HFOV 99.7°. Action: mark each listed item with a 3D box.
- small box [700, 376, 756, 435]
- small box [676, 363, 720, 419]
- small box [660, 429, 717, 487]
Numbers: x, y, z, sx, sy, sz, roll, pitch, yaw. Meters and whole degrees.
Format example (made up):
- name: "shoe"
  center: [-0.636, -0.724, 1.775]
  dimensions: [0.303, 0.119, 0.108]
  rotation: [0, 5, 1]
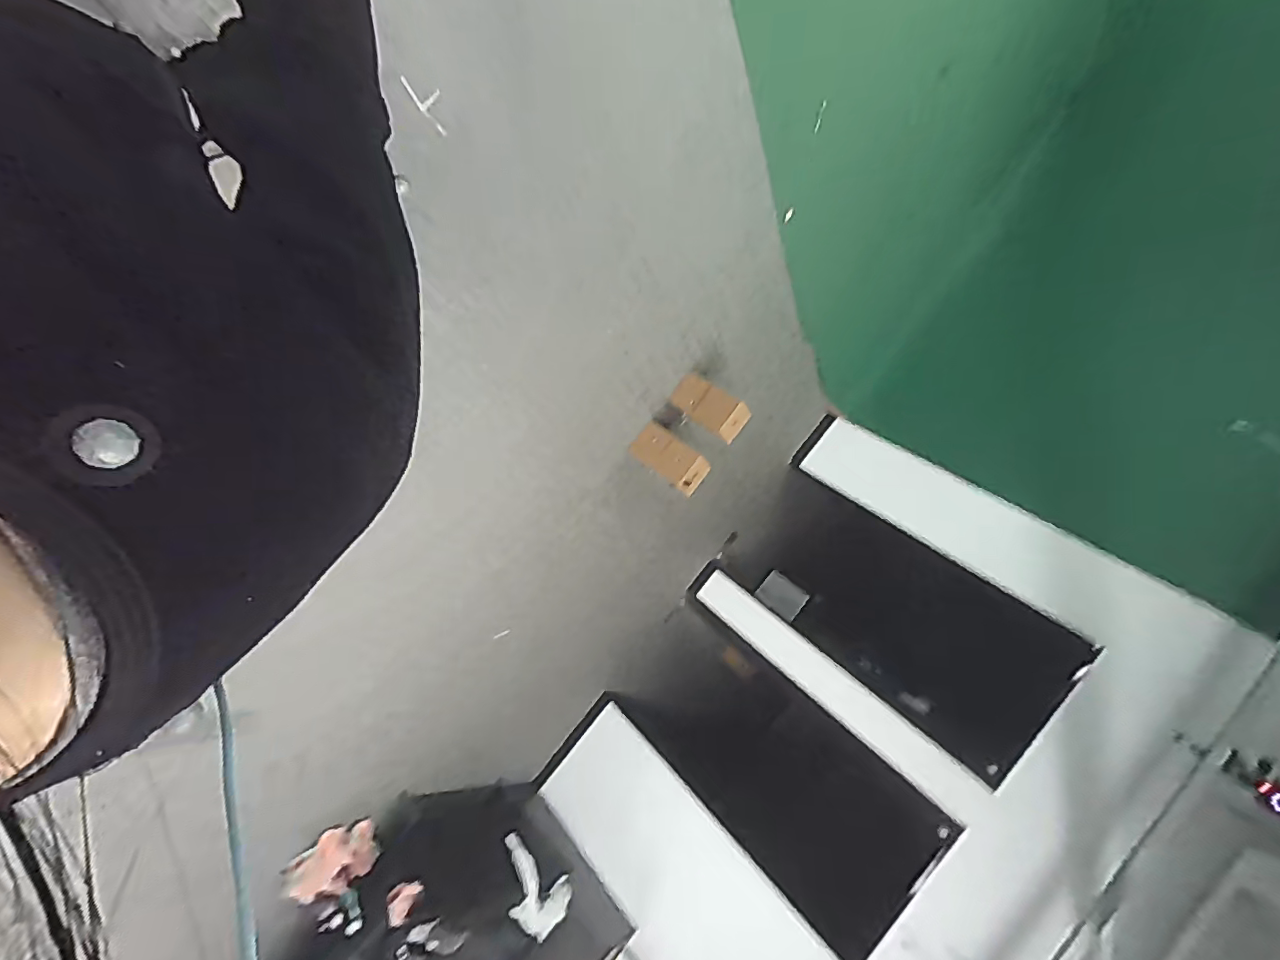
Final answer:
- name: "small box"
  center: [0.395, -0.343, 2.469]
  dimensions: [0.179, 0.176, 0.168]
  rotation: [-54, 147, 0]
- name: "small box"
  center: [0.292, -0.424, 2.569]
  dimensions: [0.179, 0.176, 0.168]
  rotation: [-54, 146, 0]
- name: "small box"
  center: [0.215, -0.100, 2.471]
  dimensions: [0.179, 0.176, 0.168]
  rotation: [-53, 147, -1]
